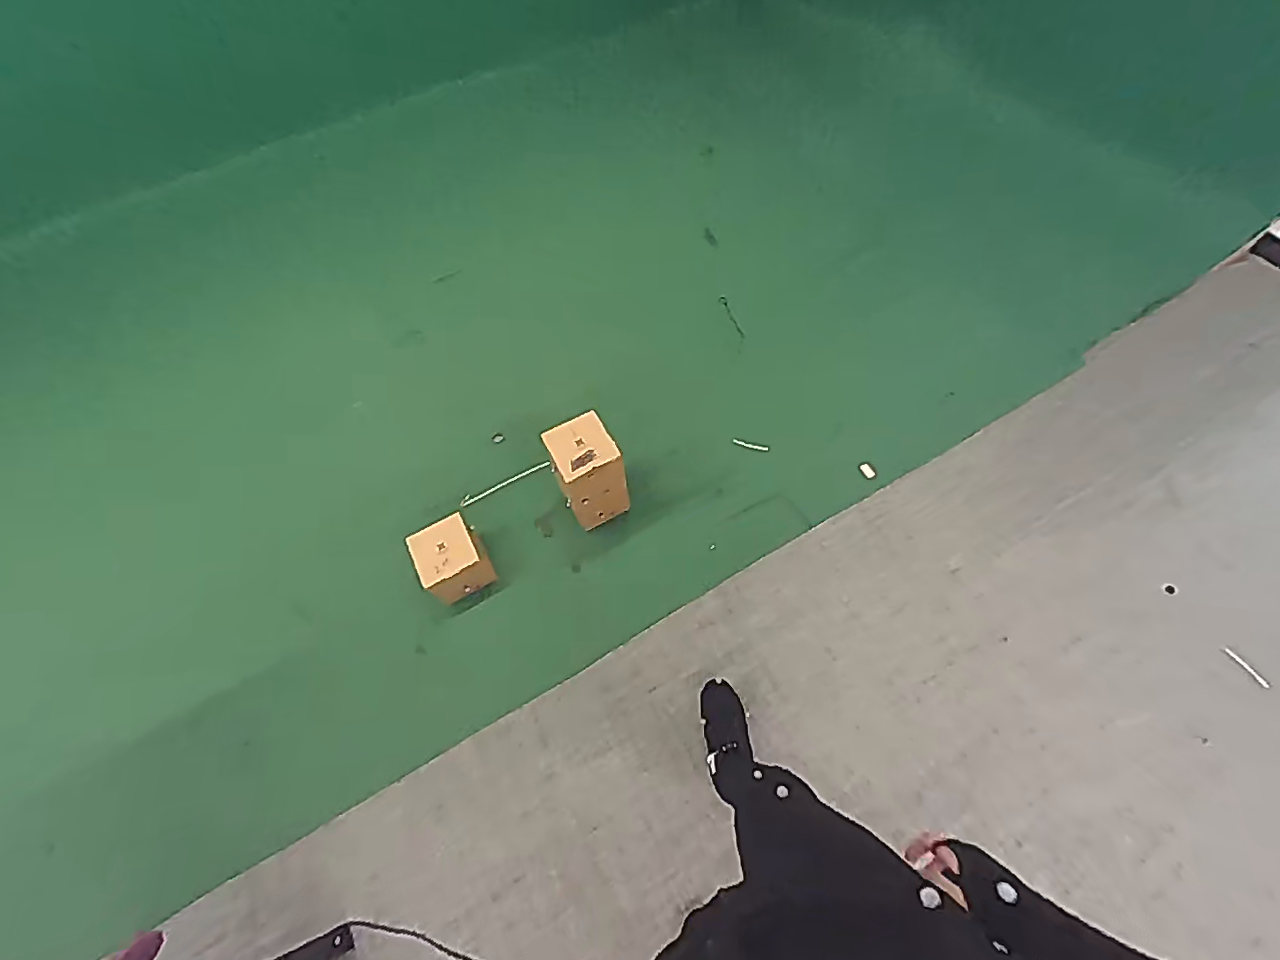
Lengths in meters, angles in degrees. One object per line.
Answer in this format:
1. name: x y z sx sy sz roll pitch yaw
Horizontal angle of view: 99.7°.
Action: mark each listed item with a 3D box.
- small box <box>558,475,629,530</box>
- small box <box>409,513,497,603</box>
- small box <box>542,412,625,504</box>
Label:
1. small box: -0.145 0.025 1.669 0.168 0.176 0.179 -26 64 -11
2. small box: -0.544 0.232 1.583 0.168 0.176 0.179 -28 63 -10
3. small box: -0.153 -0.052 1.524 0.168 0.176 0.179 -26 63 -11
